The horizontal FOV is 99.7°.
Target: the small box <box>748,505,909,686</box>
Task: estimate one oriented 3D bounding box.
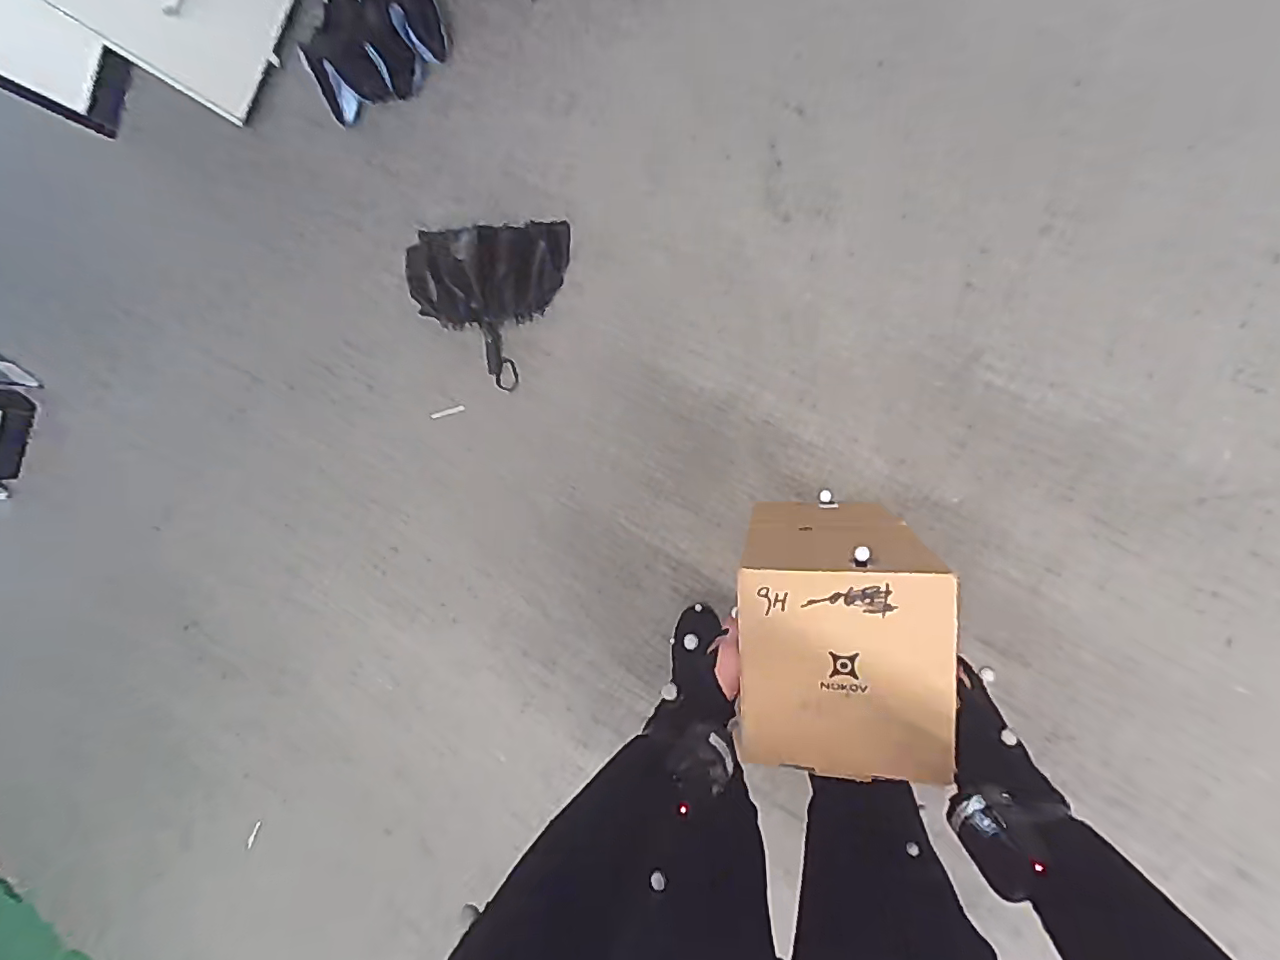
[{"bbox_3d":[0.227,0.132,0.671,0.168,0.176,0.179,-3,95,15],"label":"small box"}]
